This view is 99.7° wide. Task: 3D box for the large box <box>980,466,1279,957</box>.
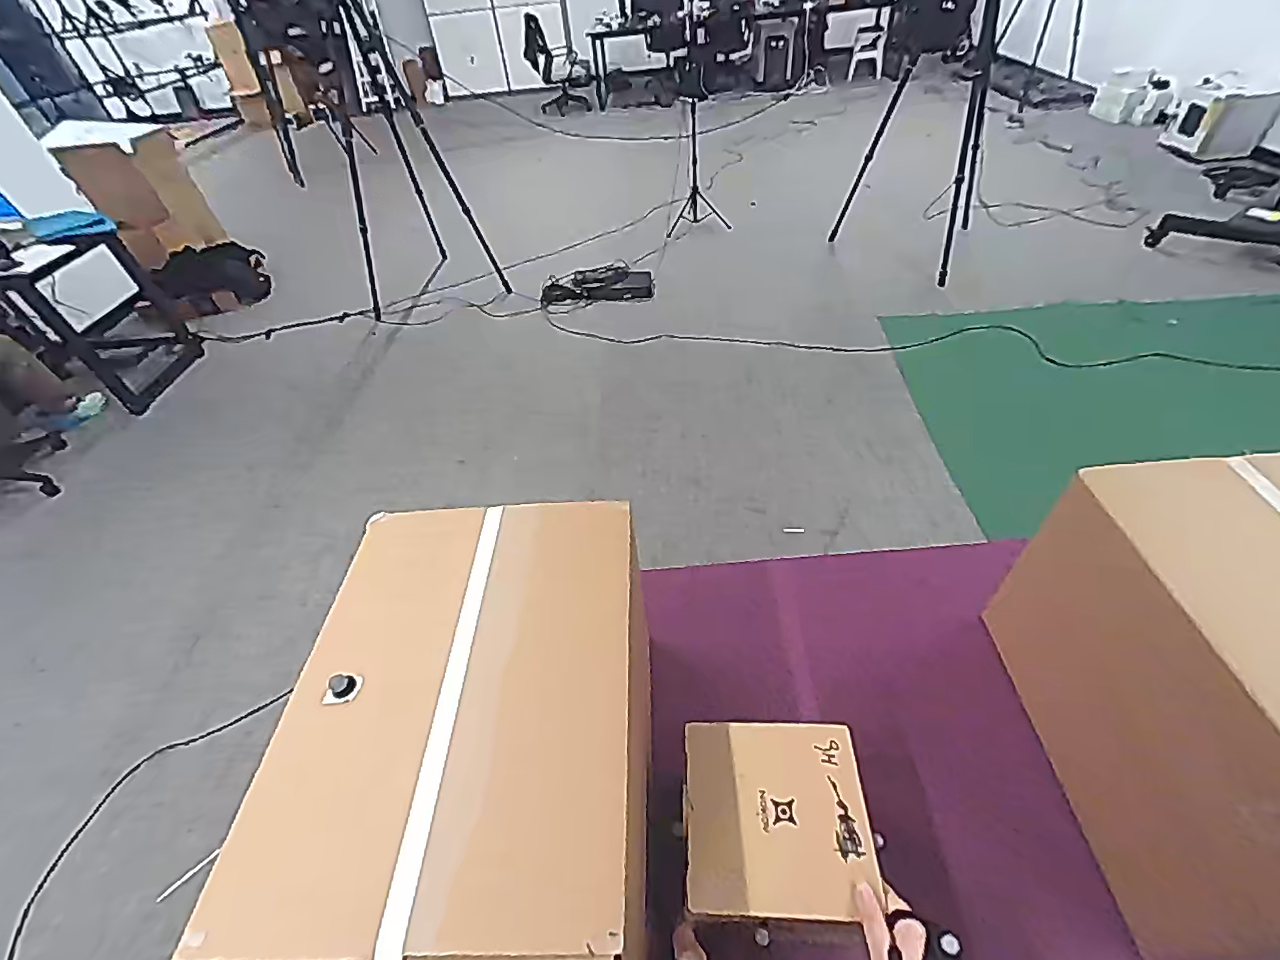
[{"bbox_3d":[0.649,0.232,0.571,0.320,0.320,0.408,-3,46,4],"label":"large box"}]
